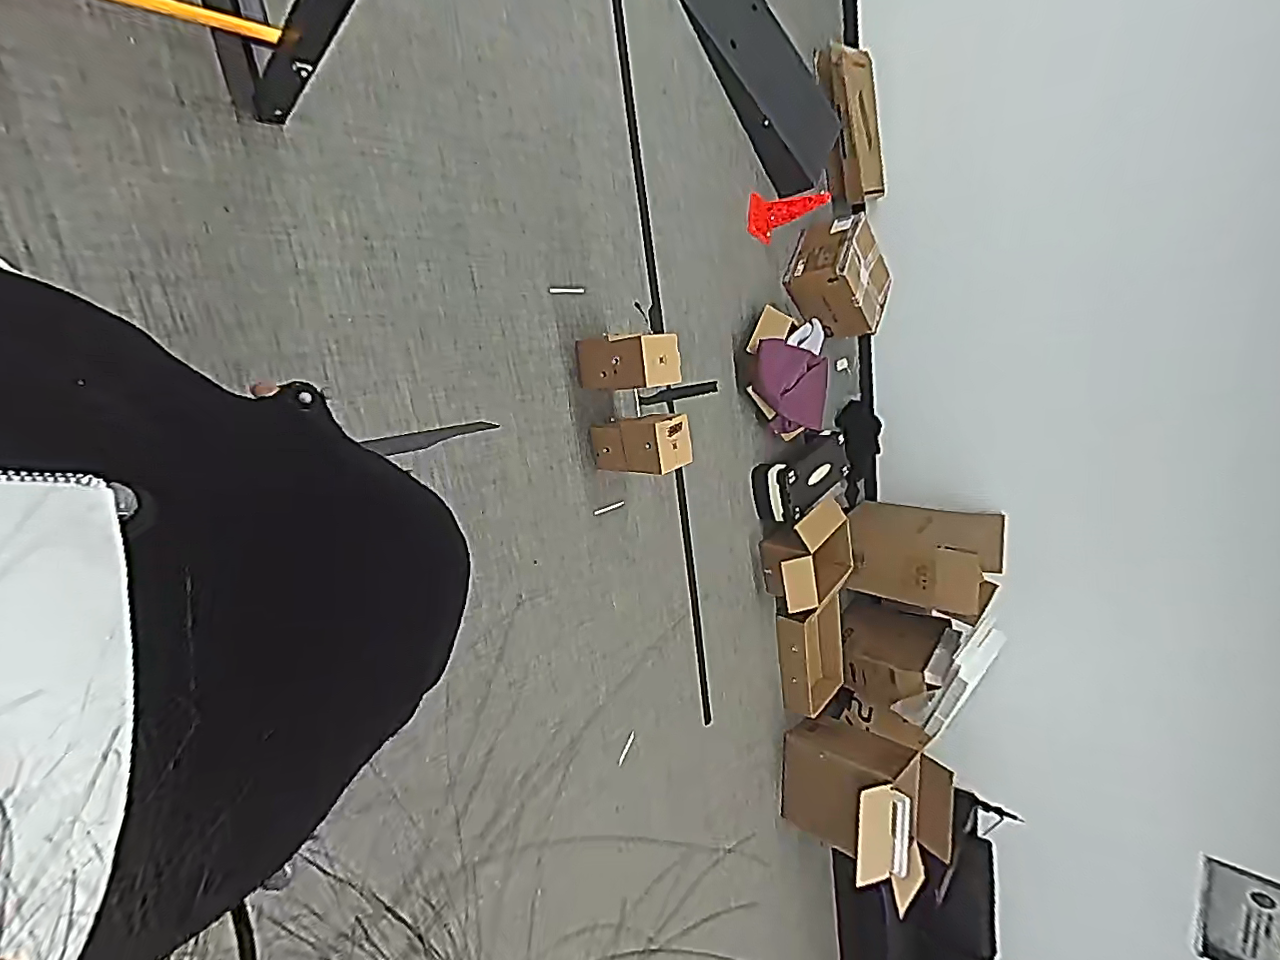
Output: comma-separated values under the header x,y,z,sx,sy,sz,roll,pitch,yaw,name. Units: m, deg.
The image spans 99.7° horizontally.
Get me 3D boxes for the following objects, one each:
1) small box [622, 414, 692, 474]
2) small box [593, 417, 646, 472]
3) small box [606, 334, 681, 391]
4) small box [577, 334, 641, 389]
x,y,z,sx,sy,sz,roll,pitch,yaw,name
0.056,-0.127,1.869,0.168,0.176,0.179,-23,110,-42,small box
-0.058,-0.133,1.990,0.179,0.176,0.168,-23,110,-41,small box
0.012,-0.391,1.802,0.179,0.176,0.168,-18,105,-42,small box
-0.102,-0.418,1.915,0.168,0.176,0.179,-18,106,-43,small box
